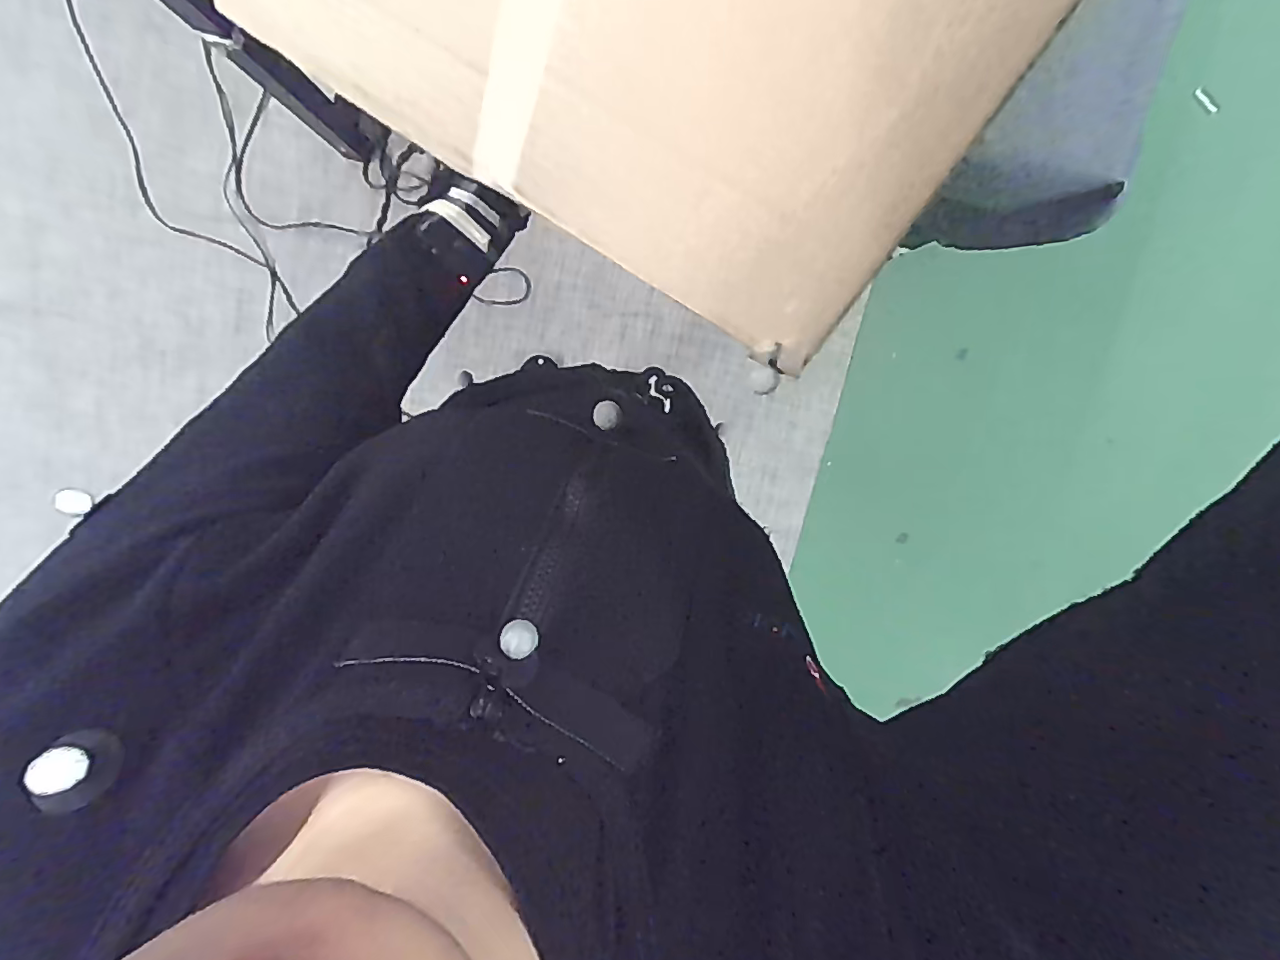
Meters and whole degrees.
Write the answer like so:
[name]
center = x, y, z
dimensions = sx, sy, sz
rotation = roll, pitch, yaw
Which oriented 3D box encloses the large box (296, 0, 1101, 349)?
[large box]
center = 0.088, -0.350, 0.248
dimensions = 0.320, 0.320, 0.408
rotation = 32, 130, 3
